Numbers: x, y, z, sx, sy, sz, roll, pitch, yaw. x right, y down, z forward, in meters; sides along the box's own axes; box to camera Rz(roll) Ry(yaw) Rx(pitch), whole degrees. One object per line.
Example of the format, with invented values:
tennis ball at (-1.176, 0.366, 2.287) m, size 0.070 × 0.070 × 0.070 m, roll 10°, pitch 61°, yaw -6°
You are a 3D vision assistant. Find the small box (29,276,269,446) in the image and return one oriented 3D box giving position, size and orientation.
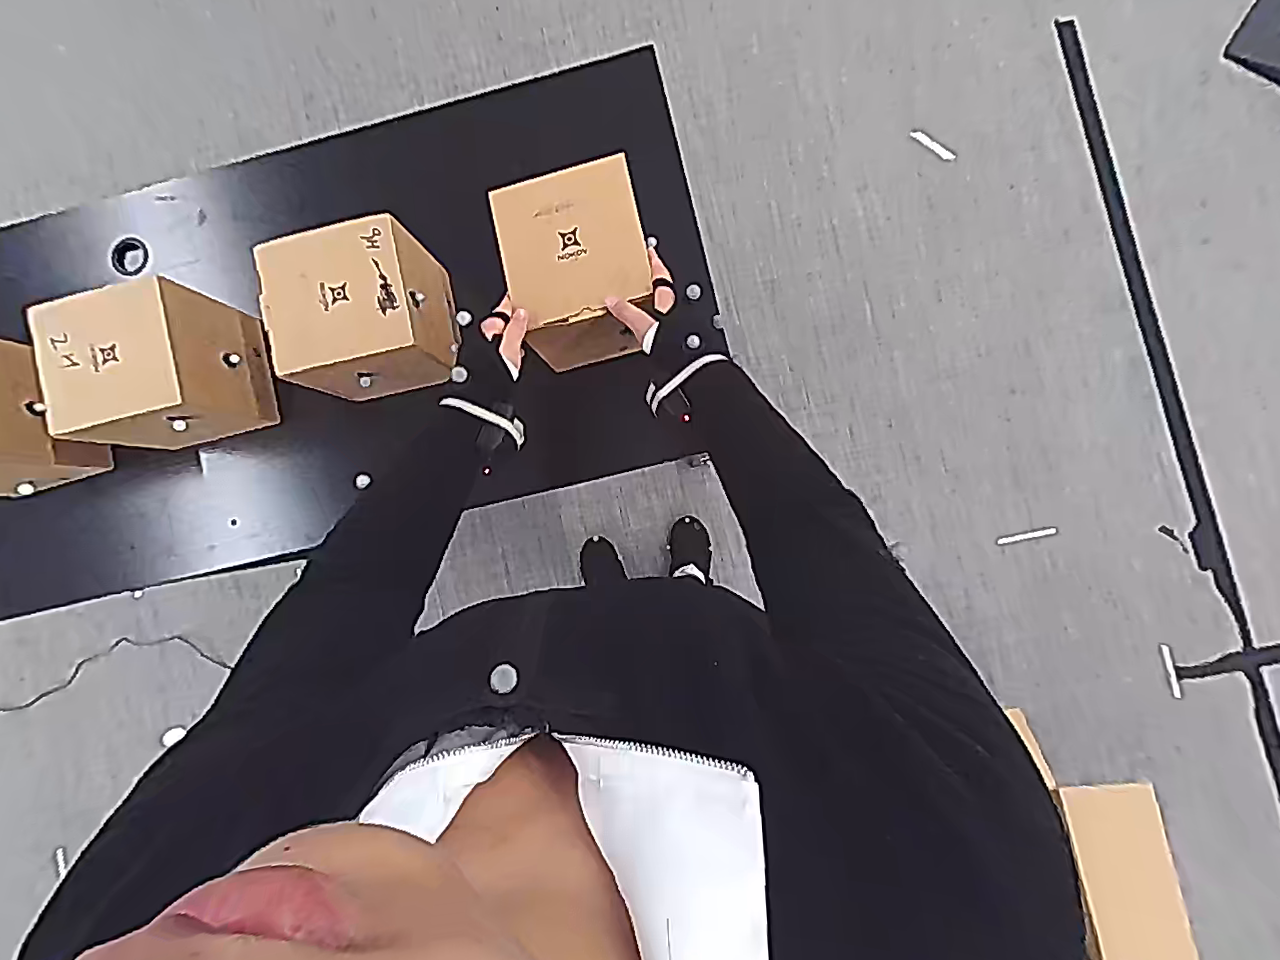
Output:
small box at (-0.647, -0.150, 0.740) m, size 0.179 × 0.176 × 0.168 m, roll -14°, pitch 87°, yaw 2°

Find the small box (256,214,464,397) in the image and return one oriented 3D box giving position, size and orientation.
small box at (-0.363, -0.219, 0.727) m, size 0.179 × 0.176 × 0.168 m, roll -12°, pitch 87°, yaw 4°

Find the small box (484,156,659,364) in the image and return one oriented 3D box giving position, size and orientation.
small box at (-0.076, -0.262, 0.694) m, size 0.168 × 0.176 × 0.179 m, roll -14°, pitch 83°, yaw 5°

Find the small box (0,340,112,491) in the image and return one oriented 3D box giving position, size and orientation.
small box at (-0.906, -0.086, 0.753) m, size 0.168 × 0.176 × 0.179 m, roll -15°, pitch 88°, yaw 3°
